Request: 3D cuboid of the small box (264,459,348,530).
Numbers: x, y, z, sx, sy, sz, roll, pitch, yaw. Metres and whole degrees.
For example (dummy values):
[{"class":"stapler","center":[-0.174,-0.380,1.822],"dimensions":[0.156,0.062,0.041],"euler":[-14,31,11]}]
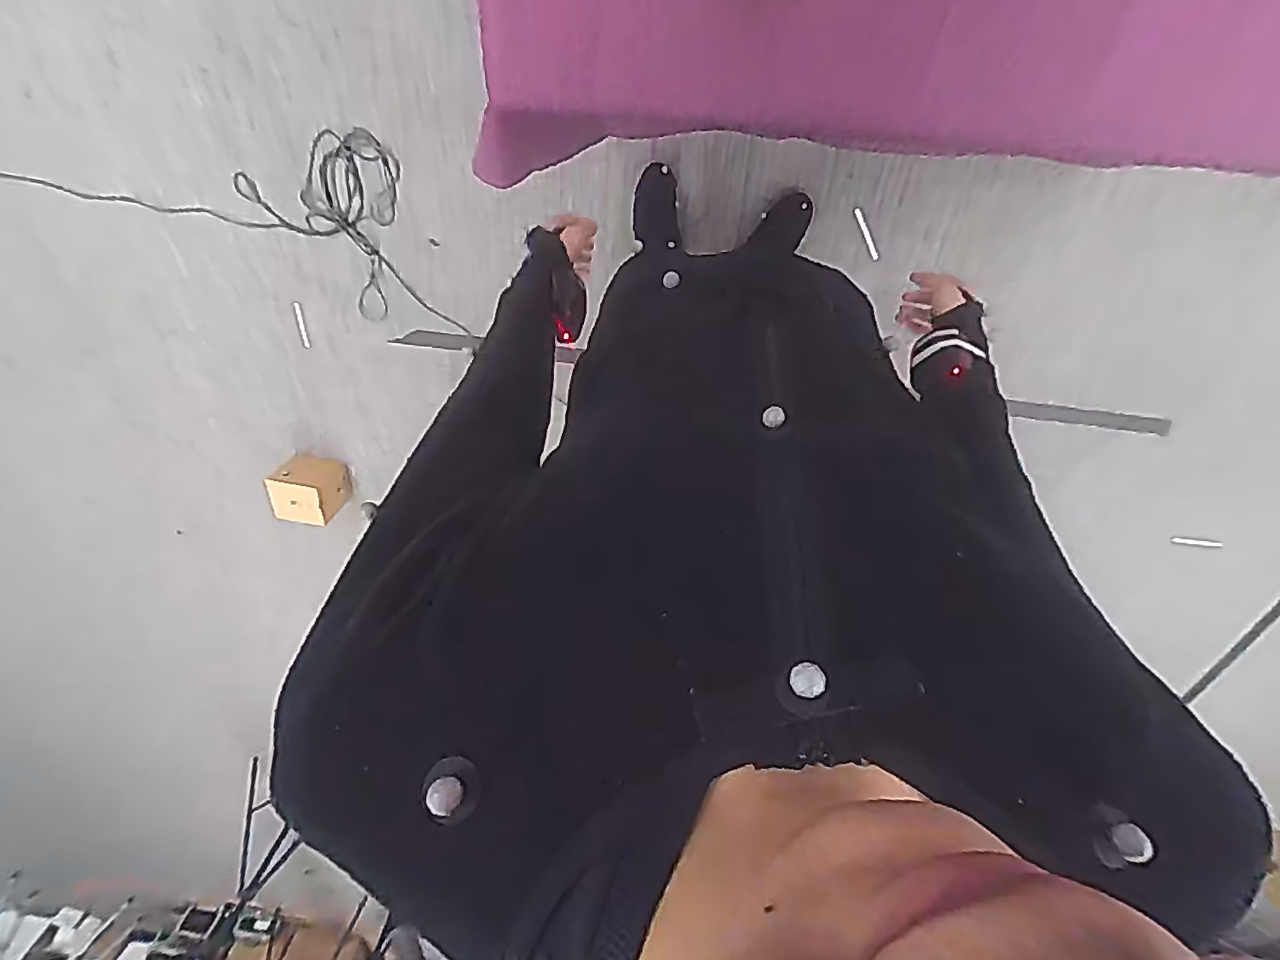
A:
[{"class":"small box","center":[-1.149,0.046,1.873],"dimensions":[0.179,0.176,0.168],"euler":[10,124,-1]}]
